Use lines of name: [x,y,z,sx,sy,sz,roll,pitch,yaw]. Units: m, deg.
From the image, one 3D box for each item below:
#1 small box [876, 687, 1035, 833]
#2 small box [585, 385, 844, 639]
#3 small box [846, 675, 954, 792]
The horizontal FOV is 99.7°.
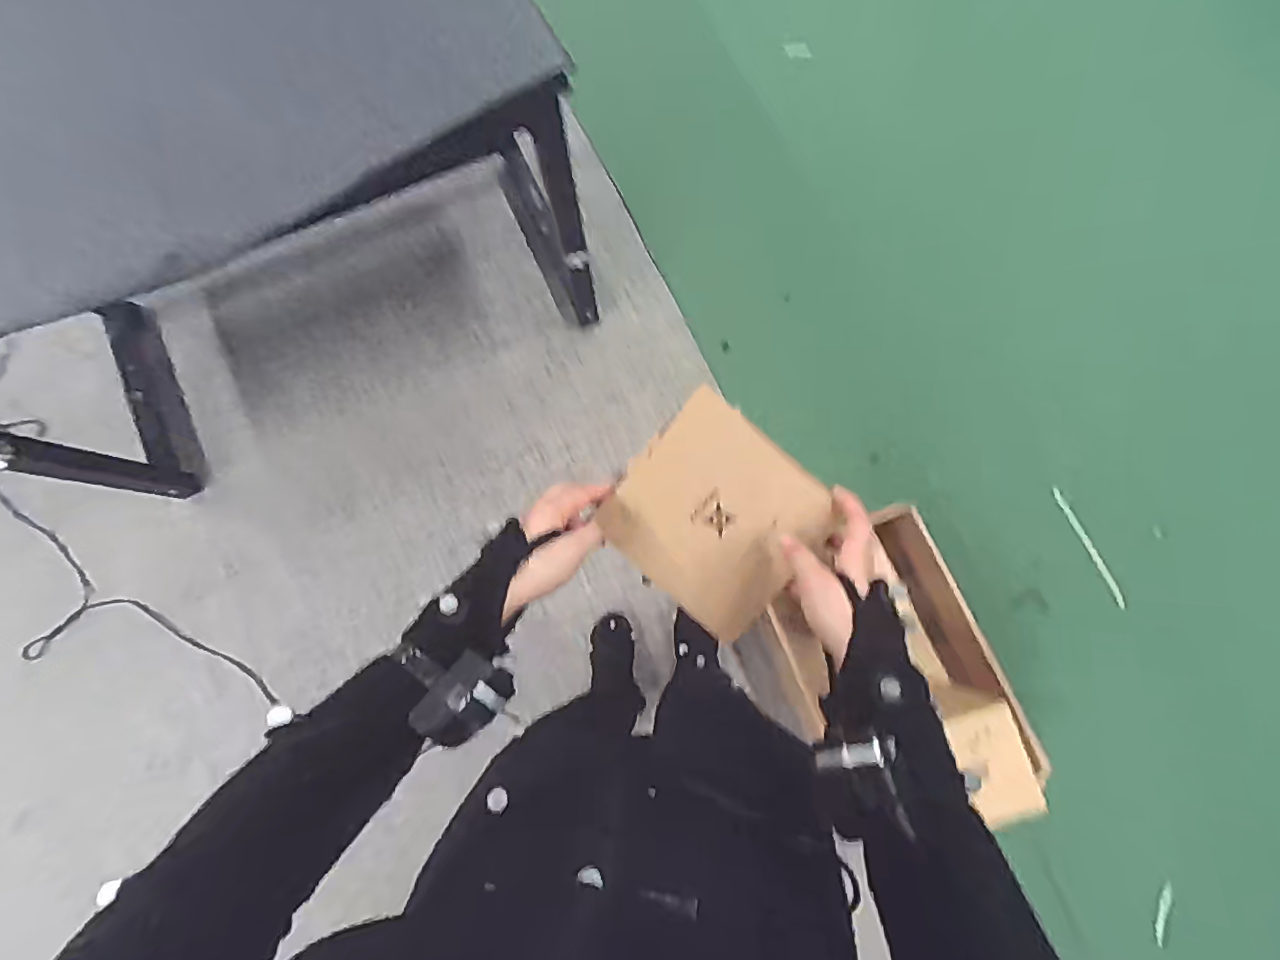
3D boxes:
small box: [0.570,0.507,1.003,0.168,0.176,0.179,-15,80,-2]
small box: [0.067,0.026,0.563,0.179,0.176,0.168,40,95,-2]
small box: [0.575,0.534,1.165,0.179,0.176,0.168,-16,80,-1]
